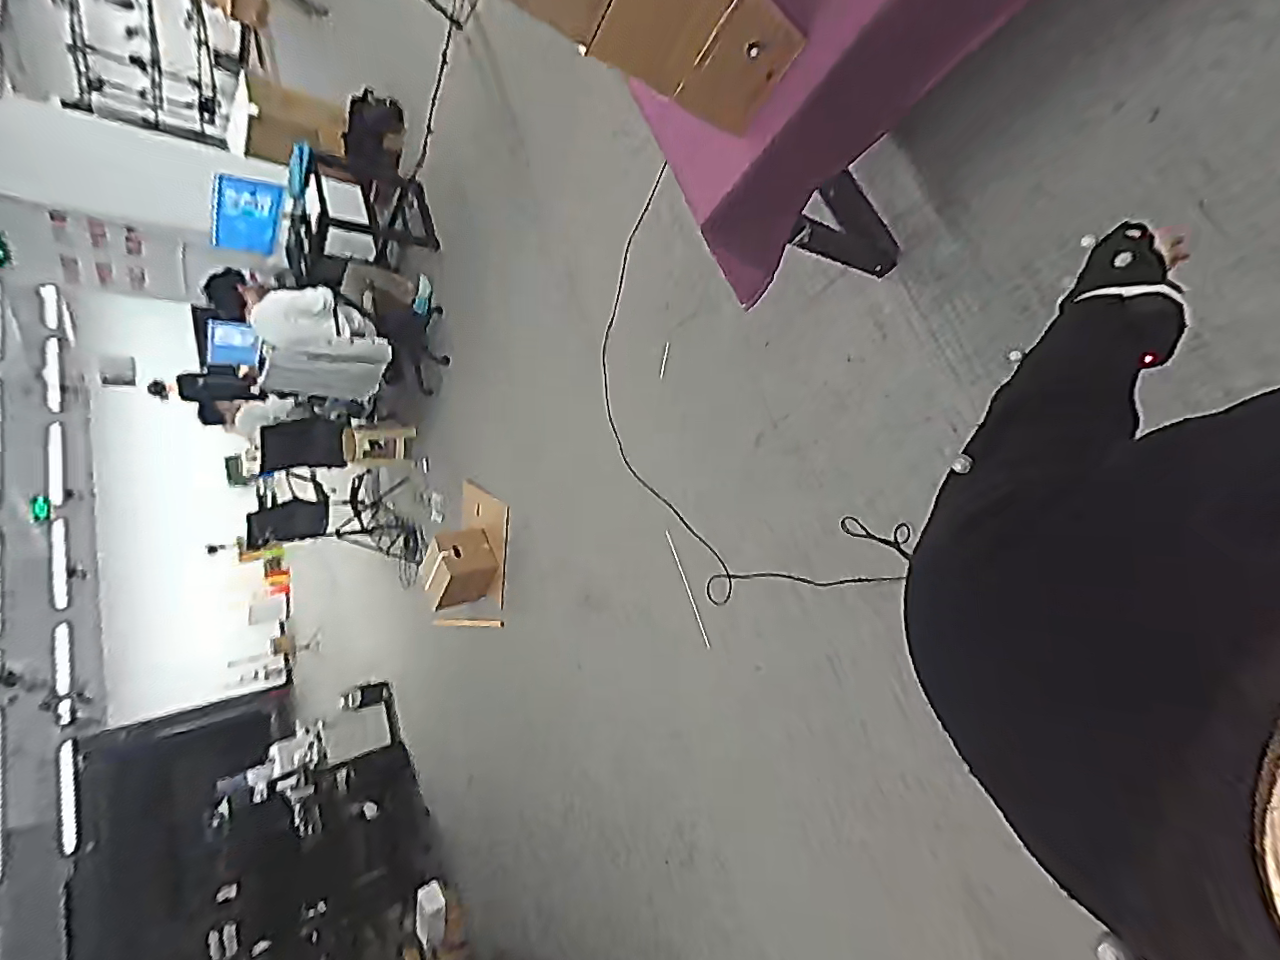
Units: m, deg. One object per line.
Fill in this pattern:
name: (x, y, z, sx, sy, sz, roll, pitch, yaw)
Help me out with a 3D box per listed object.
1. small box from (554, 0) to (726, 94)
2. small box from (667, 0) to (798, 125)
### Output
small box: (0.000, -0.707, 0.772, 0.179, 0.176, 0.168, -42, 64, 40)
small box: (0.123, -0.719, 0.877, 0.168, 0.176, 0.179, -39, 65, 42)
